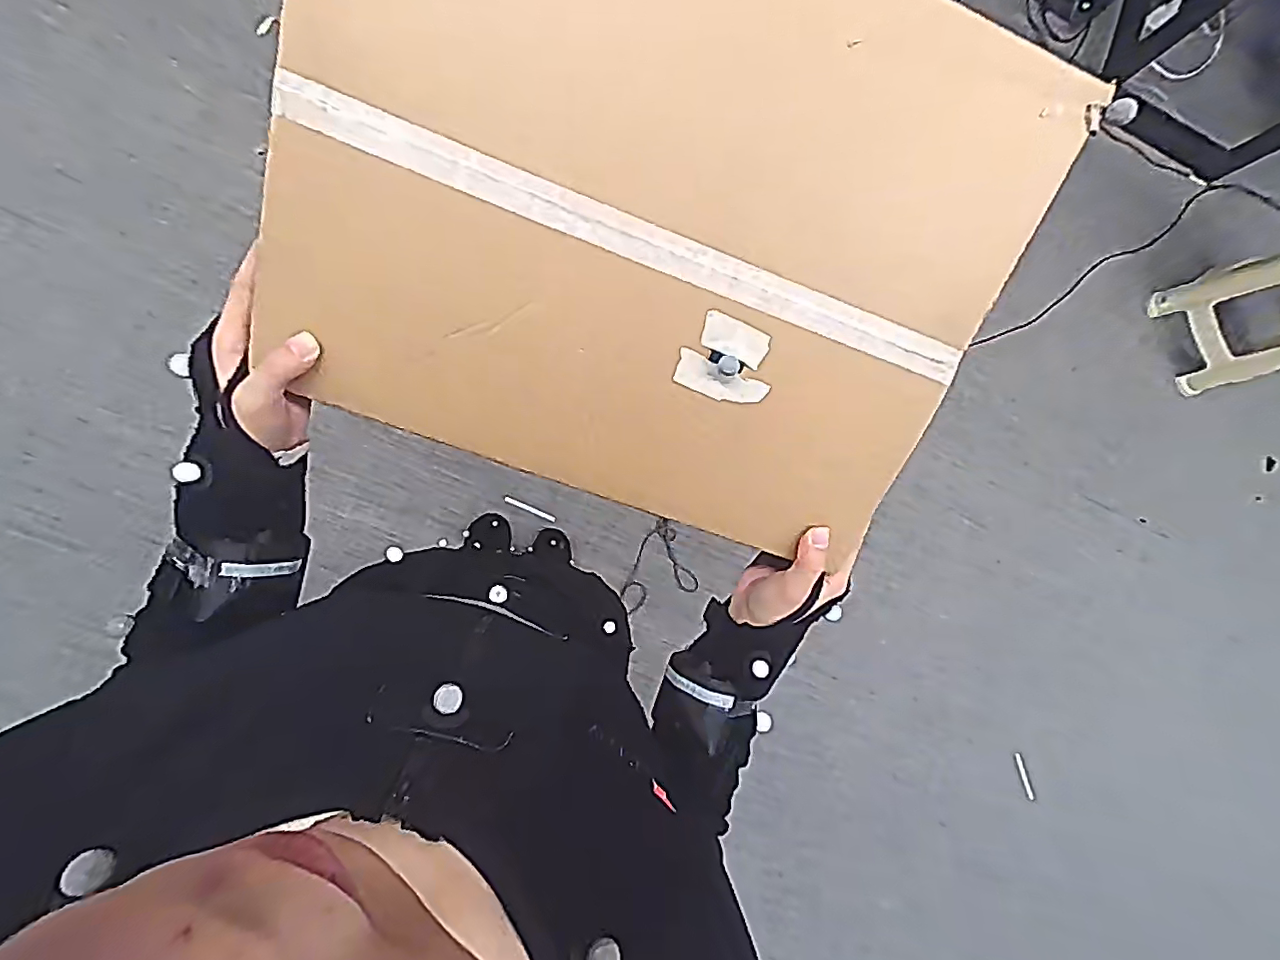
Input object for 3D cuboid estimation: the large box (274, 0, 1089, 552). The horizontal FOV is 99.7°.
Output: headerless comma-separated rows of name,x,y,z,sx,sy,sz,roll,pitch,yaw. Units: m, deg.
large box,0.003,-0.191,0.451,0.408,0.320,0.320,18,110,-9
